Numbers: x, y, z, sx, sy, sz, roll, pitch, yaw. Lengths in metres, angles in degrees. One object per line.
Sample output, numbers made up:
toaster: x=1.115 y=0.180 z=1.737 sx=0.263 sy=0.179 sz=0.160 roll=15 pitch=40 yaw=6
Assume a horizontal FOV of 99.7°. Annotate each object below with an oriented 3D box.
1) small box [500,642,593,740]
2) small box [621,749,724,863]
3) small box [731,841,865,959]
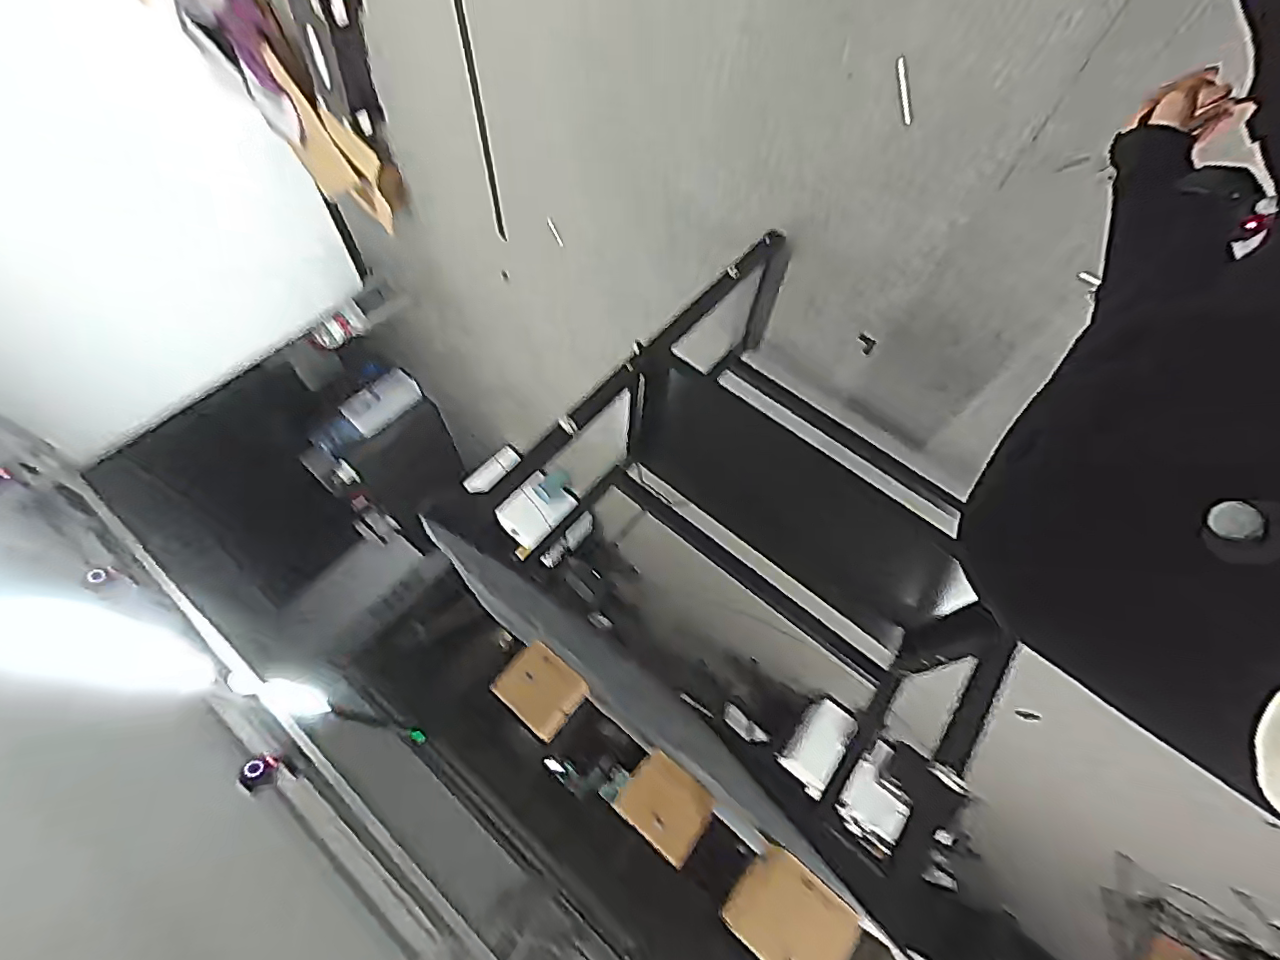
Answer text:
small box: x=-0.237 y=0.550 z=1.419 sx=0.168 sy=0.176 sz=0.179 roll=36 pitch=155 yaw=17
small box: x=0.076 y=0.780 z=1.317 sx=0.179 sy=0.176 sz=0.168 roll=37 pitch=155 yaw=14
small box: x=0.300 y=0.831 z=1.037 sx=0.168 sy=0.176 sz=0.179 roll=36 pitch=156 yaw=18
